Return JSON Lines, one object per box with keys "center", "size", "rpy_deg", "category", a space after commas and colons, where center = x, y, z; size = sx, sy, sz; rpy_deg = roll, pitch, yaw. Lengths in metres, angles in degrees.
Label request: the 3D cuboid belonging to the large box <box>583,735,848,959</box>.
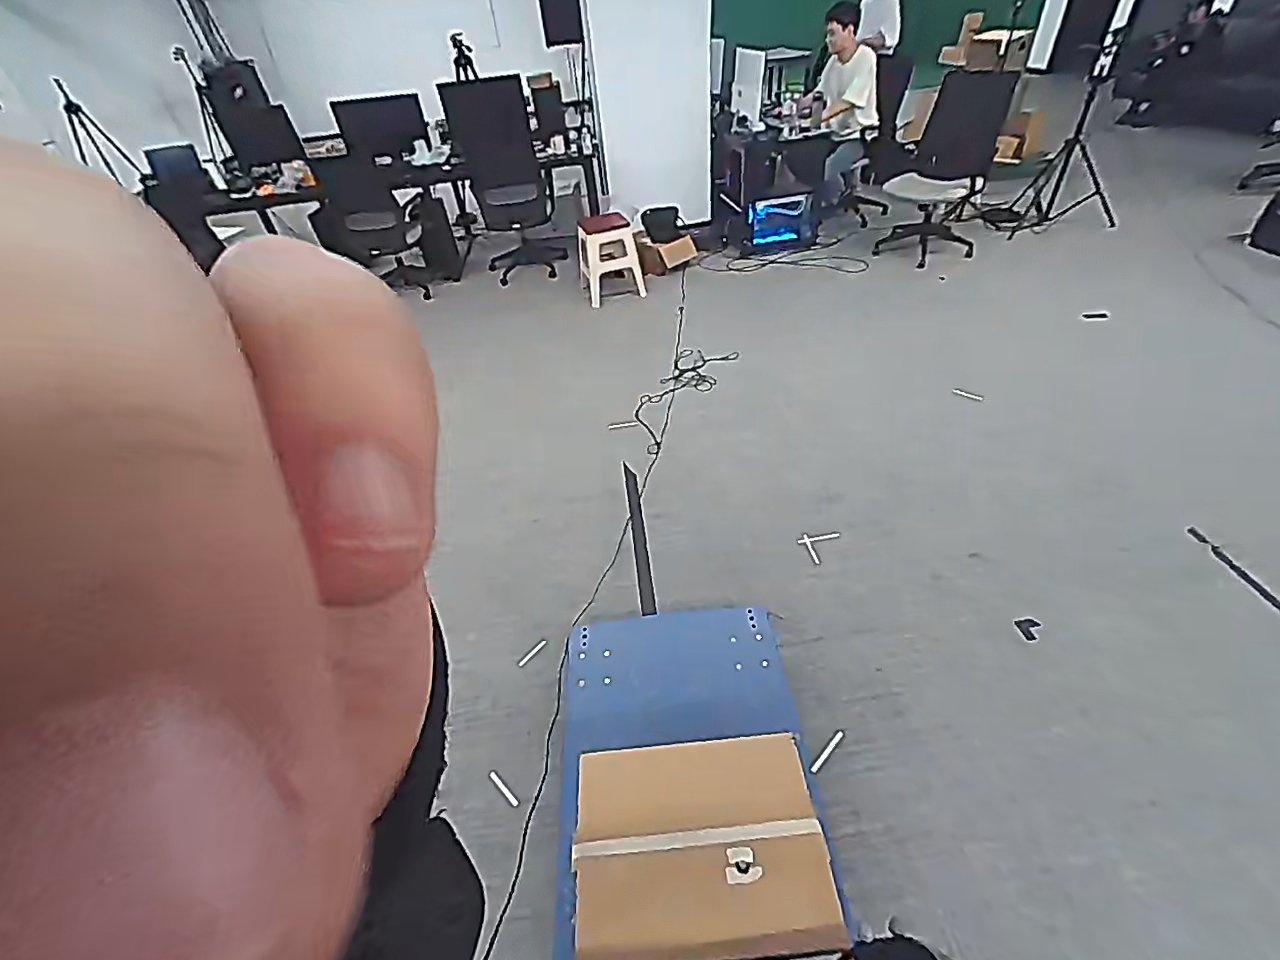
{"center": [0.114, 0.718, 1.004], "size": [0.408, 0.320, 0.320], "rpy_deg": [-7, 41, 0], "category": "large box"}
